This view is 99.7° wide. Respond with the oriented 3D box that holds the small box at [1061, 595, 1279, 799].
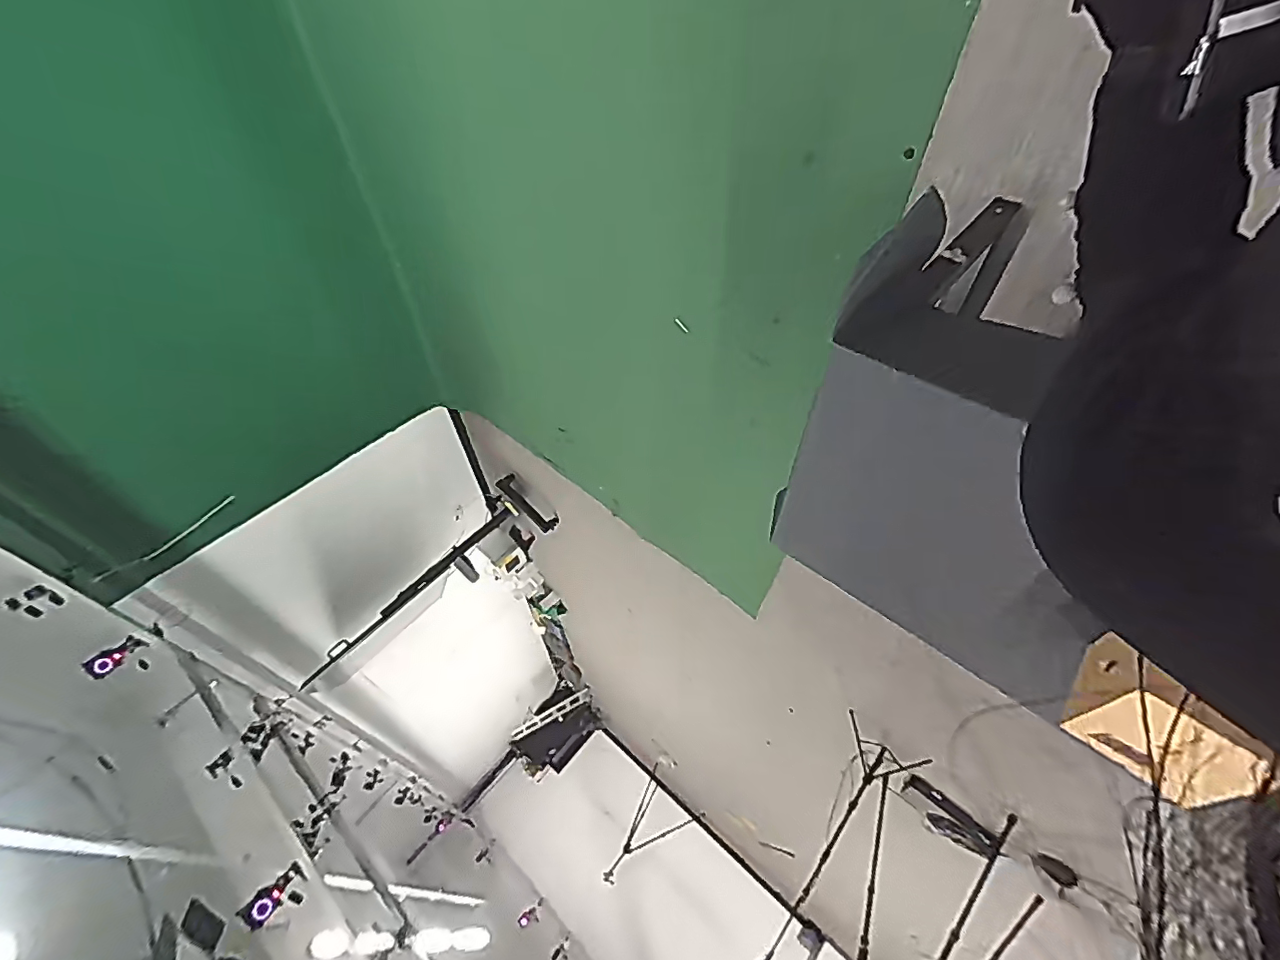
[{"bbox_3d":[0.745,0.297,0.748,0.168,0.176,0.179,34,149,25],"label":"small box"}]
